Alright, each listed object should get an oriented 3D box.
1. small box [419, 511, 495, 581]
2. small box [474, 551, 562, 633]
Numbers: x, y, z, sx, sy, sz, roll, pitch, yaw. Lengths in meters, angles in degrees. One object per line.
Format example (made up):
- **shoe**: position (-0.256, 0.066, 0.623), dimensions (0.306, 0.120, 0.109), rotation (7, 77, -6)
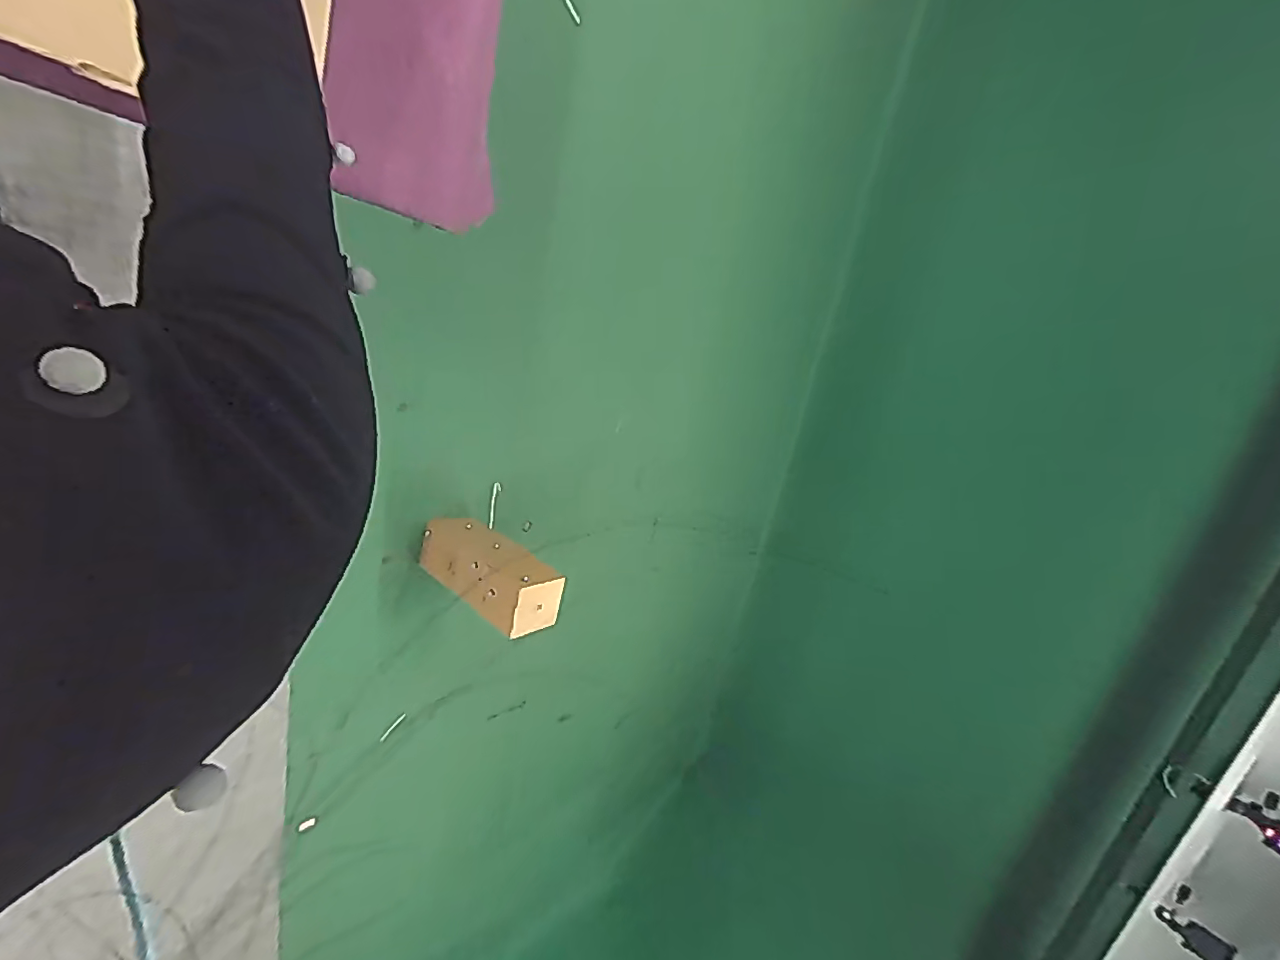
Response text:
- **small box**: position (-0.619, 0.215, 1.813), dimensions (0.179, 0.176, 0.168), rotation (-6, 115, -50)
- **small box**: position (-0.370, 0.327, 1.631), dimensions (0.179, 0.176, 0.168), rotation (-6, 115, -52)
